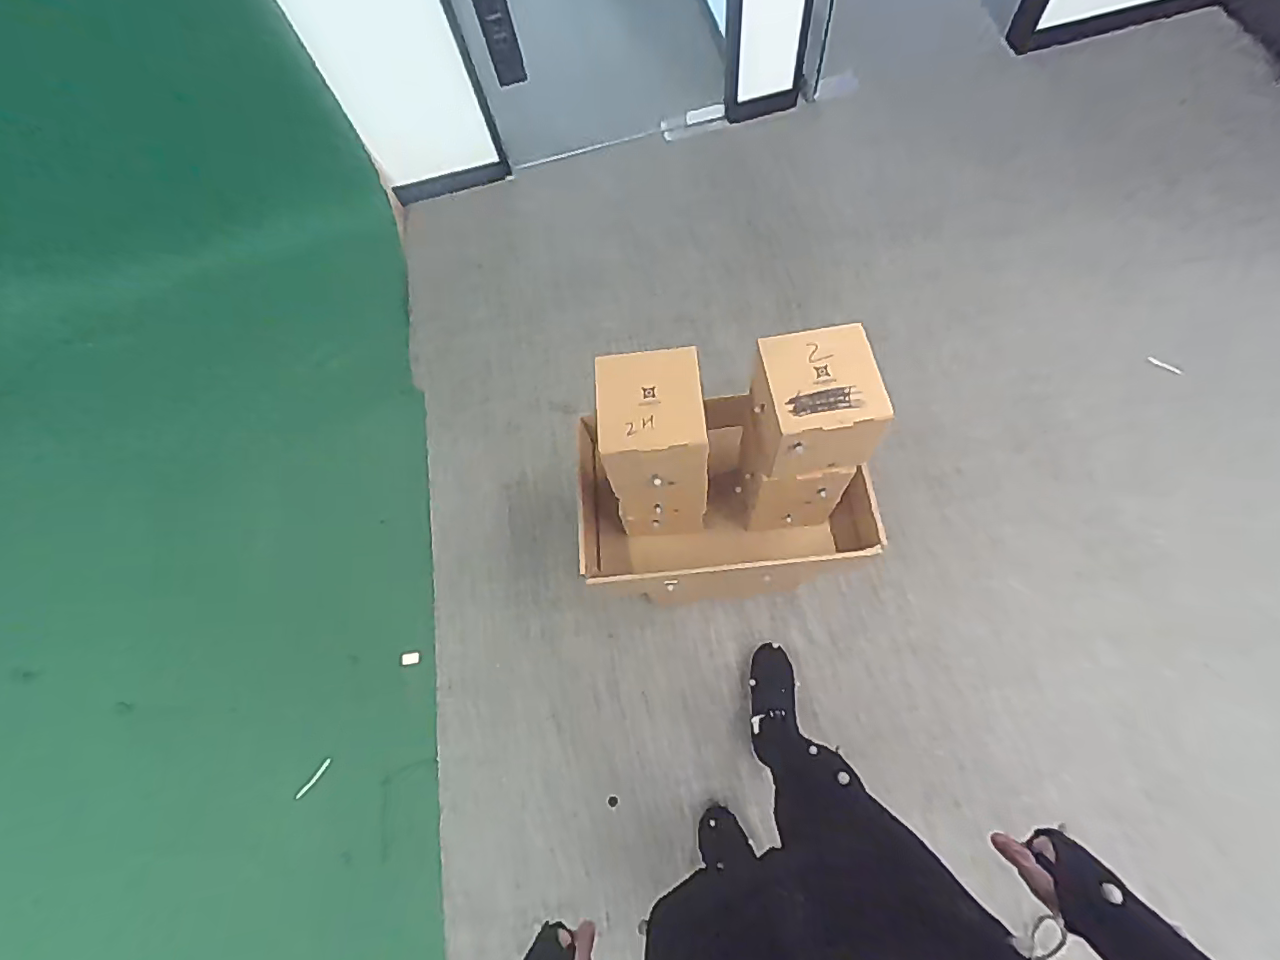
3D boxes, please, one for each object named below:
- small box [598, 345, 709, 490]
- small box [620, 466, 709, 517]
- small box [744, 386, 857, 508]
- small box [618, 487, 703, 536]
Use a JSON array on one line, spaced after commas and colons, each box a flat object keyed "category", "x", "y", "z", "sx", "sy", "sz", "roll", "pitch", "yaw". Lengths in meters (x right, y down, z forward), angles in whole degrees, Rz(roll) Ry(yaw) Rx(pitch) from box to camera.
[{"category": "small box", "x": 0.022, "y": -0.098, "z": 0.900, "sx": 0.168, "sy": 0.176, "sz": 0.179, "roll": -5, "pitch": 67, "yaw": 4}, {"category": "small box", "x": 0.041, "y": -0.041, "z": 1.053, "sx": 0.168, "sy": 0.176, "sz": 0.179, "roll": -5, "pitch": 67, "yaw": 3}, {"category": "small box", "x": 0.294, "y": -0.053, "z": 1.028, "sx": 0.168, "sy": 0.176, "sz": 0.179, "roll": -5, "pitch": 66, "yaw": 3}, {"category": "small box", "x": 0.047, "y": 0.021, "z": 1.205, "sx": 0.179, "sy": 0.176, "sz": 0.168, "roll": -4, "pitch": 67, "yaw": 4}]
